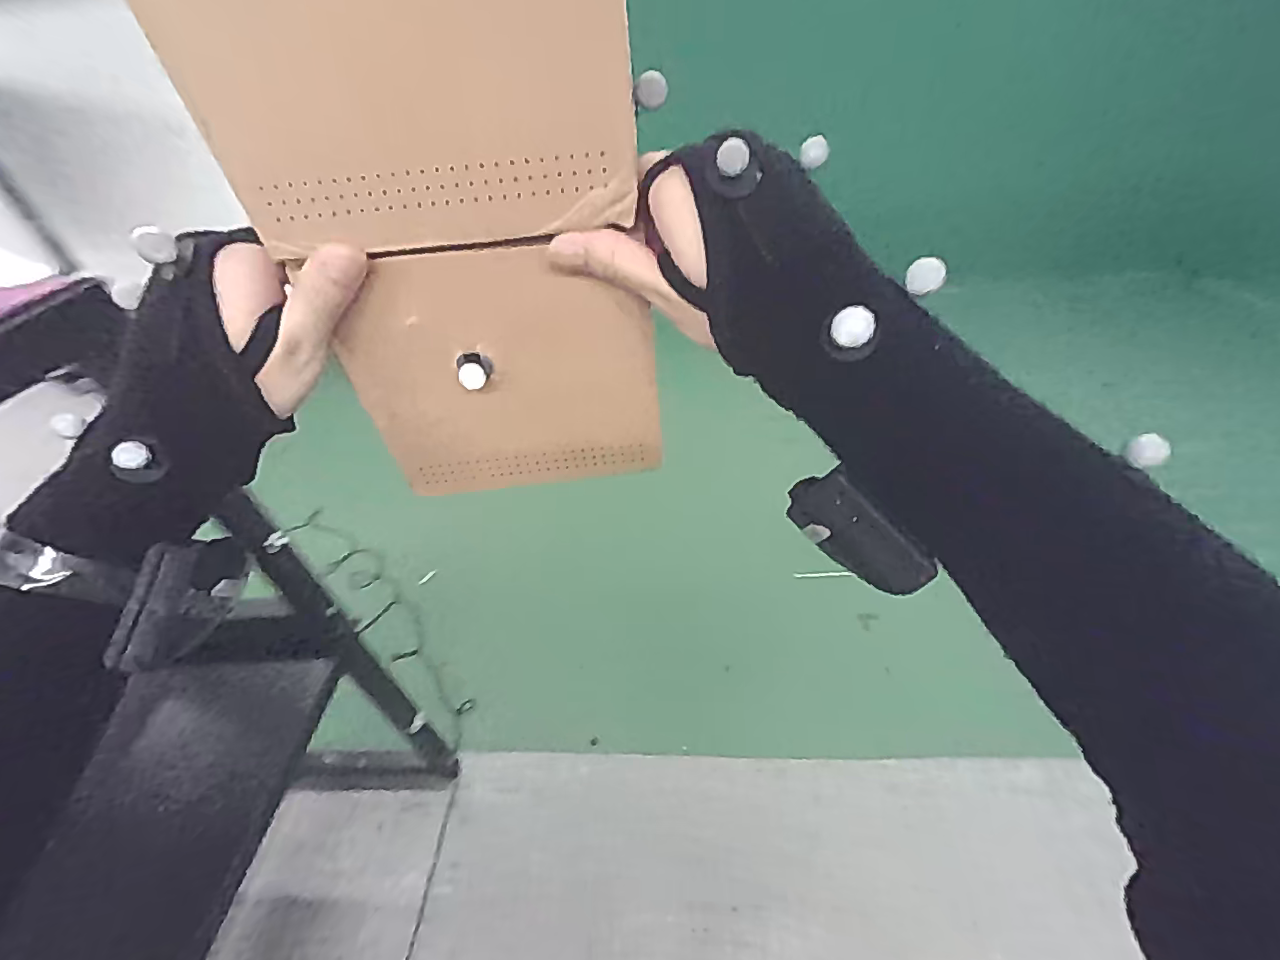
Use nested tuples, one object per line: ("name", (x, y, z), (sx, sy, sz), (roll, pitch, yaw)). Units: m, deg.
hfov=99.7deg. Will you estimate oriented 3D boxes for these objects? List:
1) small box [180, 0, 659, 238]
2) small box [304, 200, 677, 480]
("small box", (-0.085, -0.225, 0.248), (0.179, 0.176, 0.168), (-3, 46, 4))
("small box", (-0.073, -0.115, 0.369), (0.179, 0.176, 0.168), (-7, 46, 2))
